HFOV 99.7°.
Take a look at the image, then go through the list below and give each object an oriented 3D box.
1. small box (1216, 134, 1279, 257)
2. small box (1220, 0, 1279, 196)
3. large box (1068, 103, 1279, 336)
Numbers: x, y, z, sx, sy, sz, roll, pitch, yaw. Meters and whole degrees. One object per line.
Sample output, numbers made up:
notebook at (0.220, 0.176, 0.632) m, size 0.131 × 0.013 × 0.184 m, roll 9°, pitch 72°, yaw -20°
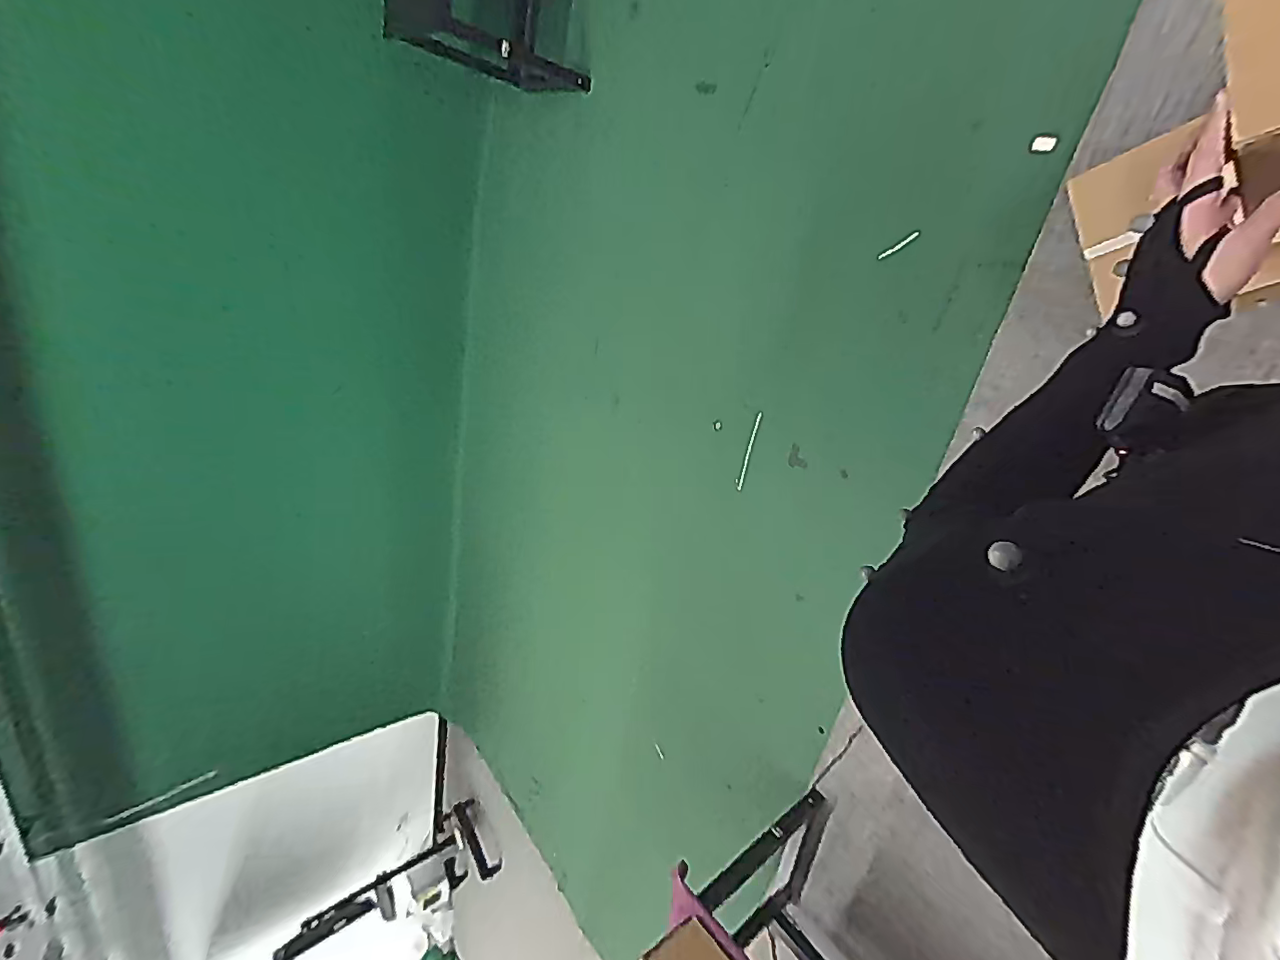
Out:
small box at (0.967, -0.442, 0.770) m, size 0.179 × 0.176 × 0.168 m, roll -17°, pitch 85°, yaw 49°
small box at (0.557, -0.340, 0.397) m, size 0.168 × 0.176 × 0.179 m, roll -3°, pitch 83°, yaw 51°
large box at (1.101, -0.489, 0.987) m, size 0.408 × 0.320 × 0.320 m, roll -16°, pitch 83°, yaw 50°
